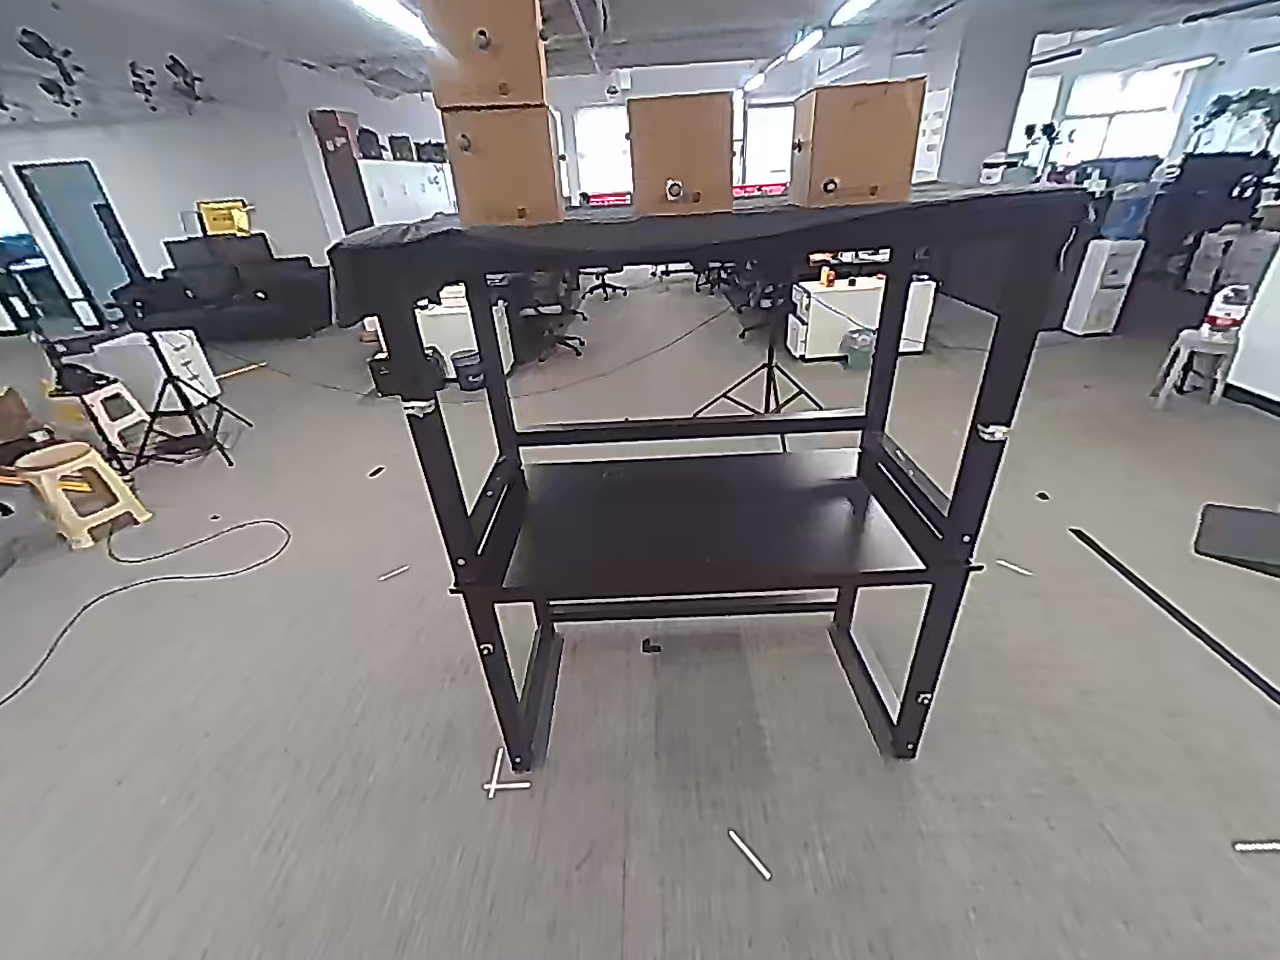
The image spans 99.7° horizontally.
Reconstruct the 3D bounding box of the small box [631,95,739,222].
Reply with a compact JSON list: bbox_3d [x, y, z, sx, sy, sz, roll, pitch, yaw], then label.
[{"bbox_3d":[0.076,-0.539,0.924,0.168,0.176,0.179,-2,28,5],"label":"small box"}]

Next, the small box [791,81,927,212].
[{"bbox_3d":[0.360,-0.557,0.921,0.168,0.176,0.179,-2,28,4],"label":"small box"}]

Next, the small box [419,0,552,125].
[{"bbox_3d":[-0.231,-0.667,0.846,0.168,0.176,0.179,-4,29,-5],"label":"small box"}]
